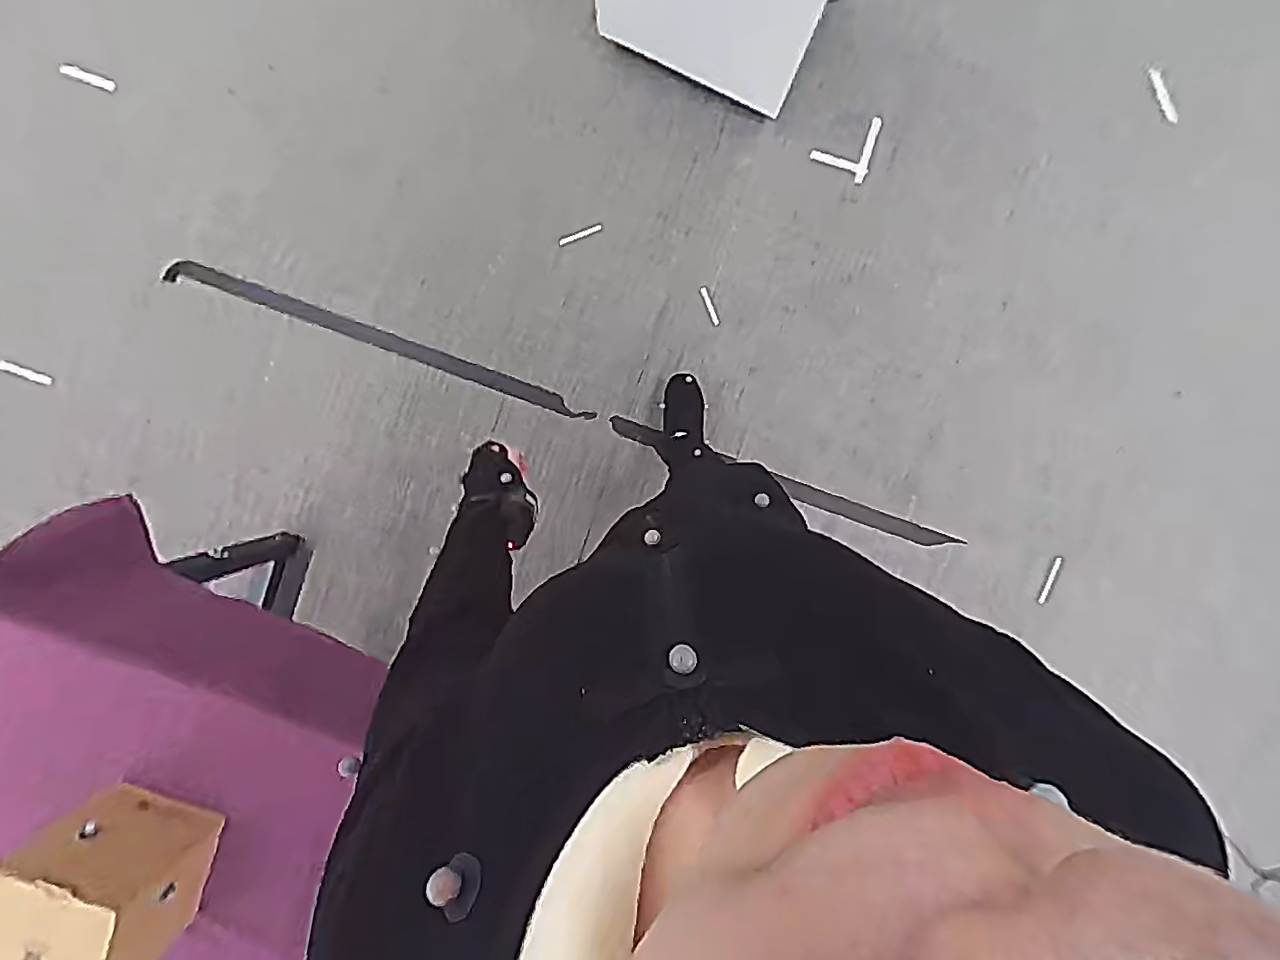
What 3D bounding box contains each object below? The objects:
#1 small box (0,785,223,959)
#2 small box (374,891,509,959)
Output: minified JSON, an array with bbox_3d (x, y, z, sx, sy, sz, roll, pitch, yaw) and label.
[{"bbox_3d":[-0.708,0.551,0.720,0.168,0.176,0.179,19,94,-1],"label":"small box"},{"bbox_3d":[-0.293,0.723,0.734,0.168,0.176,0.179,18,93,-1],"label":"small box"}]
